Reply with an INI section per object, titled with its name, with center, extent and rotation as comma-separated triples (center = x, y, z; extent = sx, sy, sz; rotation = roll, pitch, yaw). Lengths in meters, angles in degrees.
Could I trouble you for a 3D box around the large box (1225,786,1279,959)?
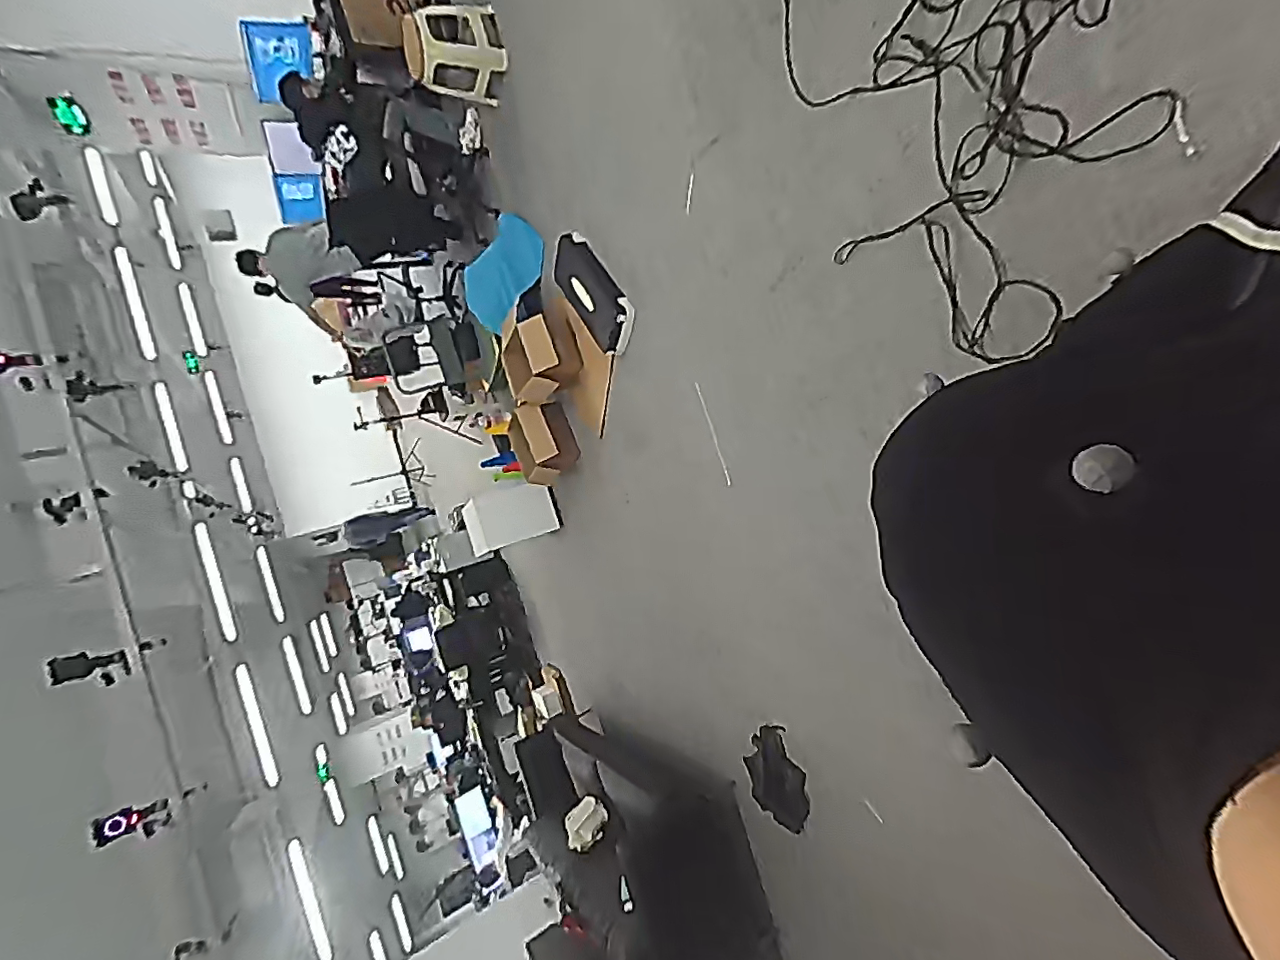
[large box]
center = 1.242, 0.722, 0.792
extent = 0.408, 0.320, 0.320
rotation = -27, 81, 63
